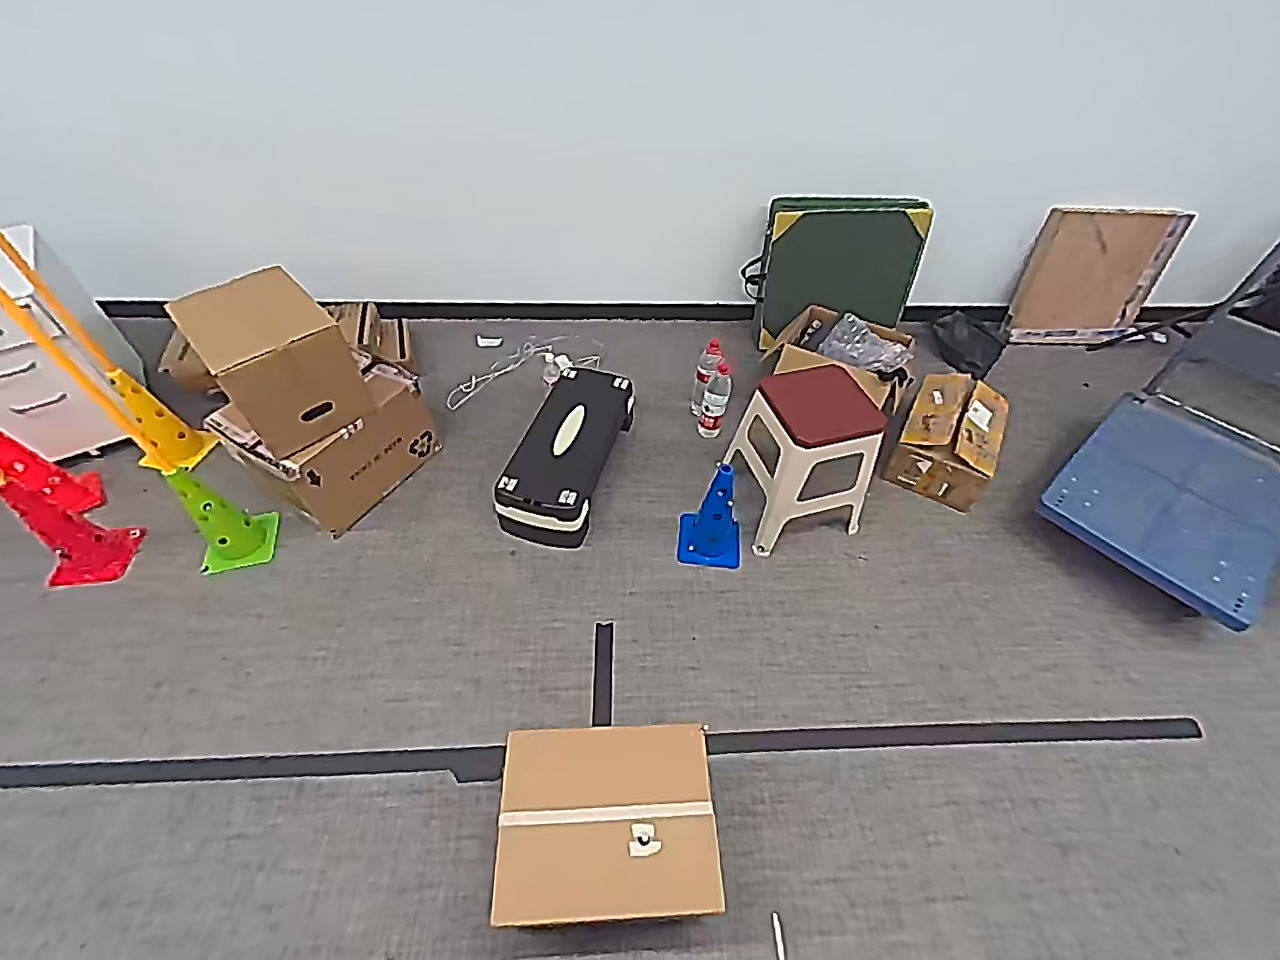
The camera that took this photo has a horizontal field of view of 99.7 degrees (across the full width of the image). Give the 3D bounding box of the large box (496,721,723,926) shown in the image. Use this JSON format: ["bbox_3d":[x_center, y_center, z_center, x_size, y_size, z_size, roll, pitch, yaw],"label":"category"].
[{"bbox_3d":[-0.069,0.724,1.141,0.408,0.320,0.320,0,50,-4],"label":"large box"}]
